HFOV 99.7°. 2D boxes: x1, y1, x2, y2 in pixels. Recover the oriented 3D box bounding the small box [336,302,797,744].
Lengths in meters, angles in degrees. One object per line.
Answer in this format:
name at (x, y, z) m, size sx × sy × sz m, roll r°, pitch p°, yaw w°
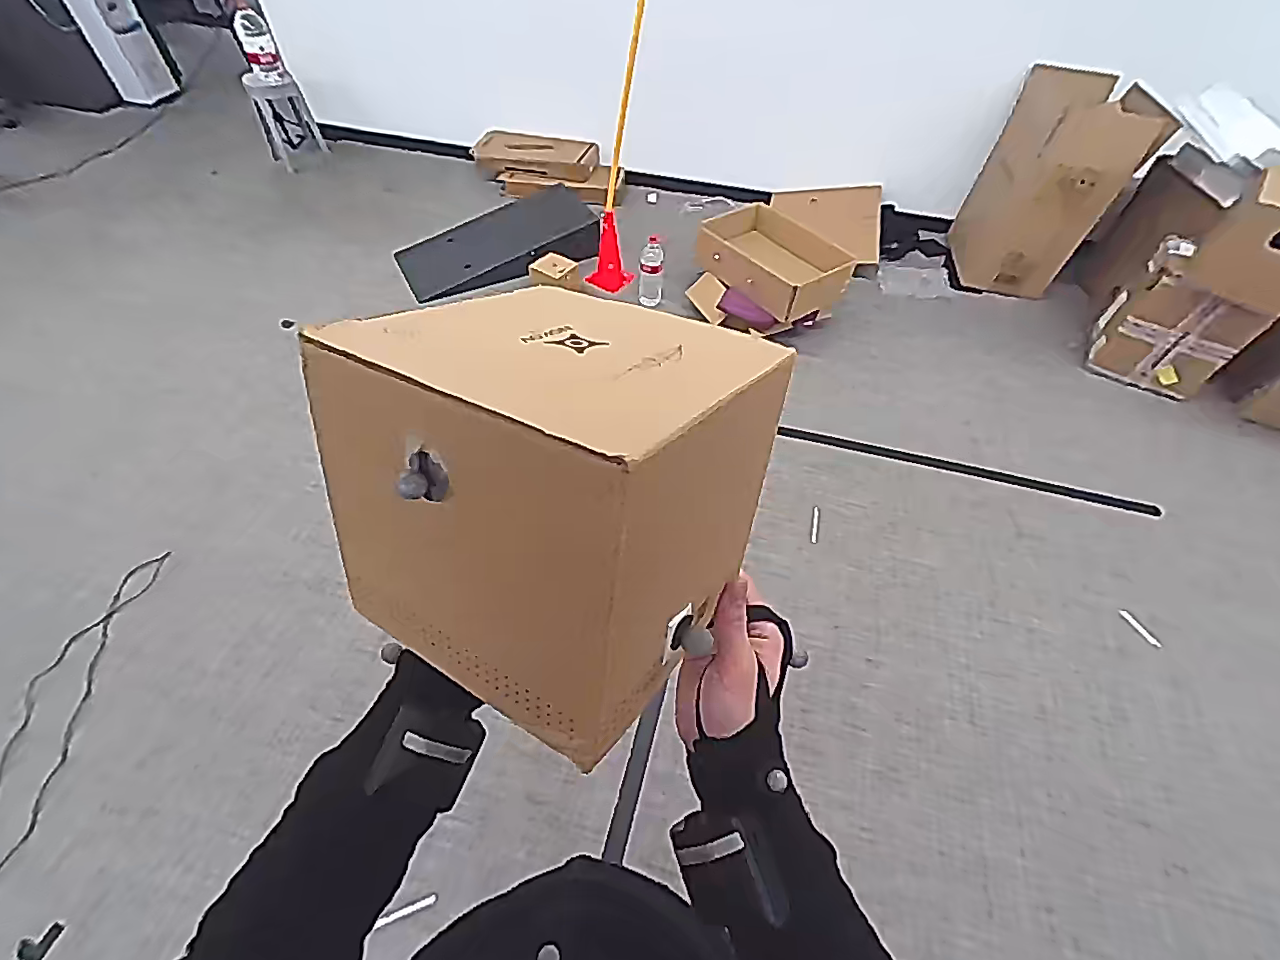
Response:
small box at (-0.036, 0.009, 0.313) m, size 0.179 × 0.176 × 0.168 m, roll 23°, pitch 34°, yaw 23°
